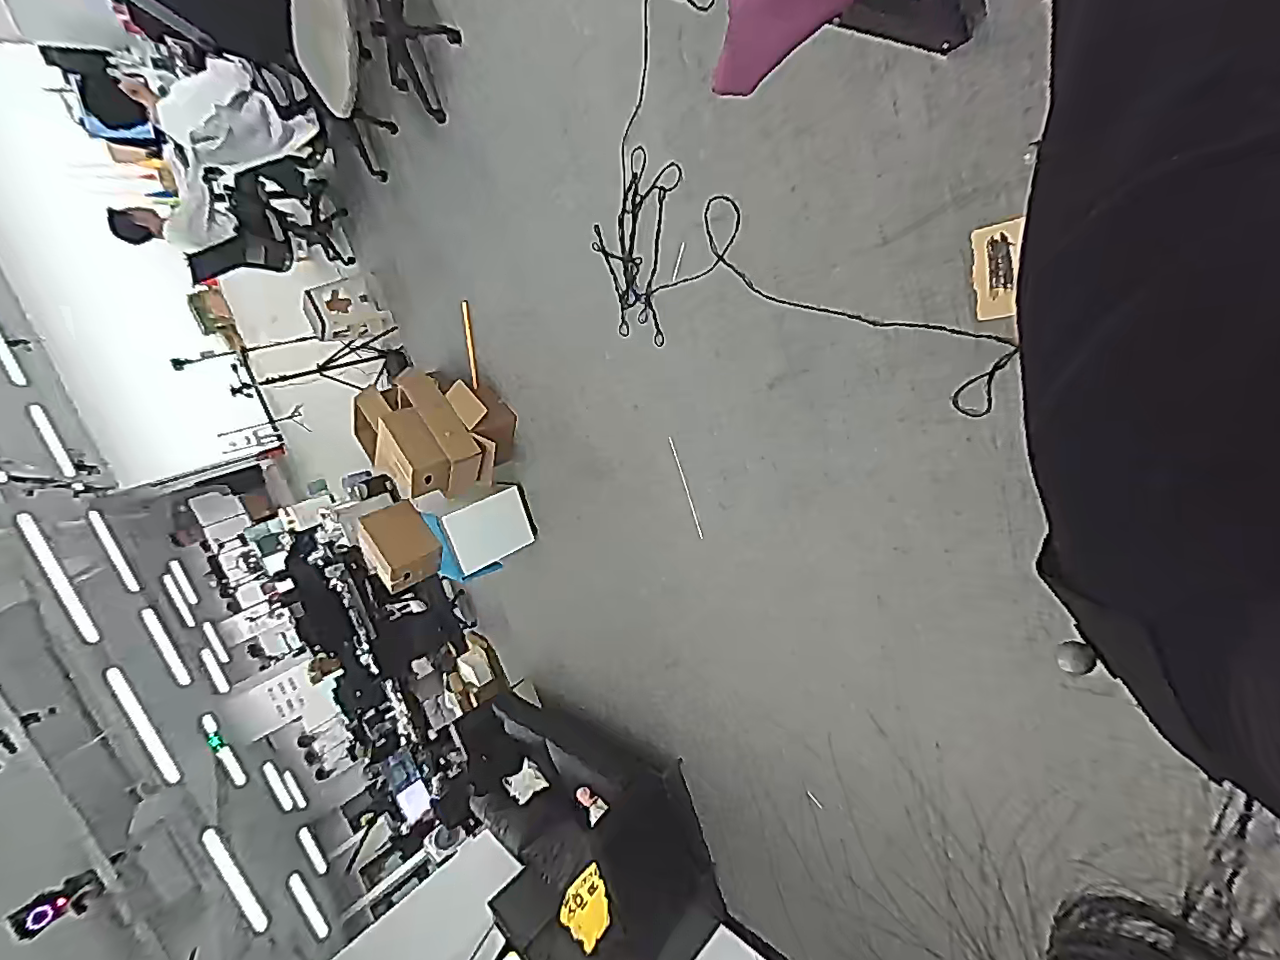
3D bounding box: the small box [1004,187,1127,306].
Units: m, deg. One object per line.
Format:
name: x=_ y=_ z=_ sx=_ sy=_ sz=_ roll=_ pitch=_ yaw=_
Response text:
small box: x=0.861 y=-0.468 z=1.090 sx=0.168 sy=0.176 sz=0.179 roll=4 pitch=115 yaw=49
